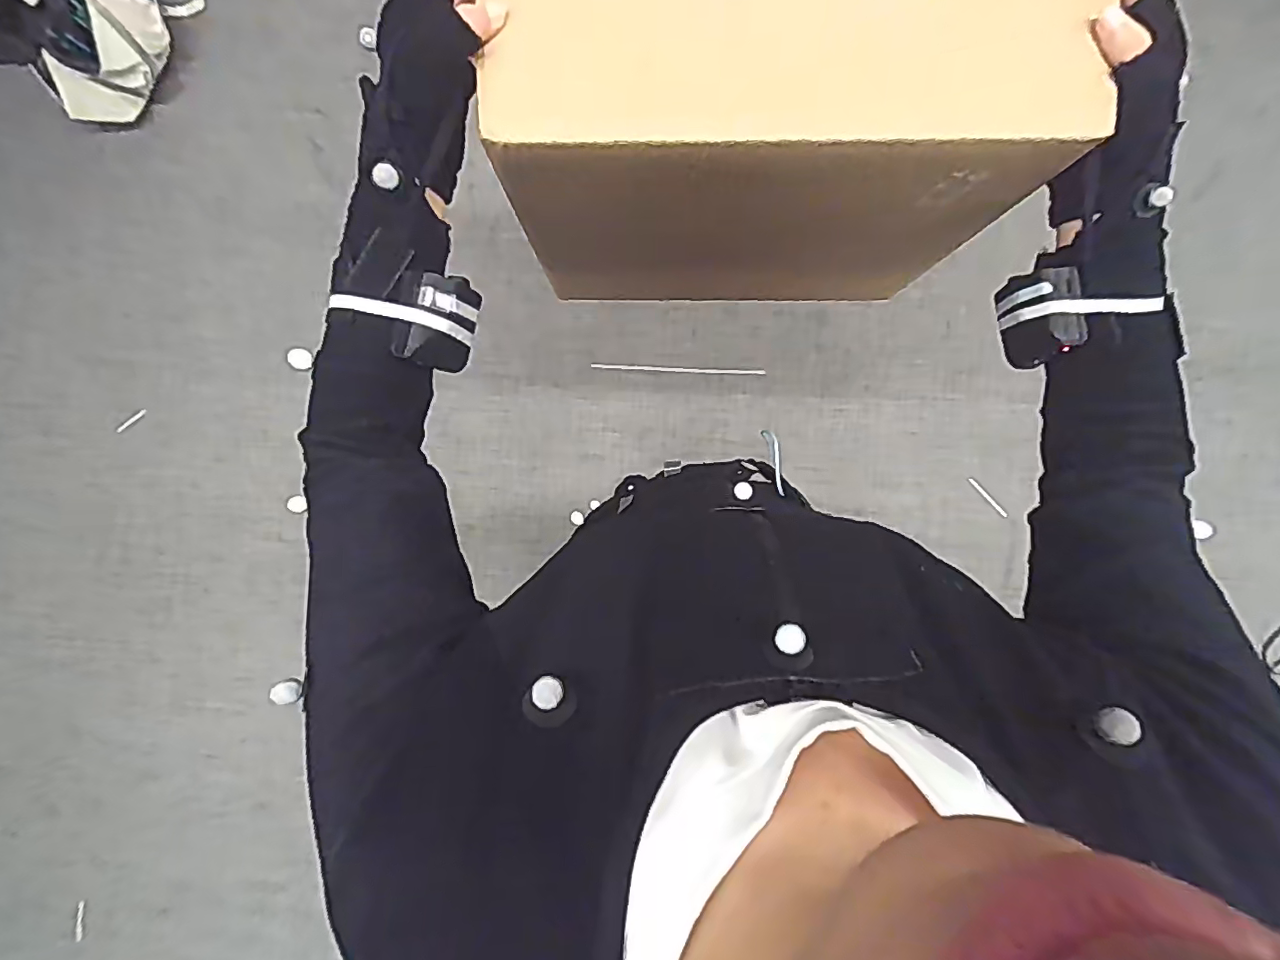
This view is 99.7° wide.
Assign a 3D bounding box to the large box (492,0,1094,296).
[{"bbox_3d":[0.096,-0.378,0.505,0.408,0.320,0.320,-1,91,0],"label":"large box"}]
